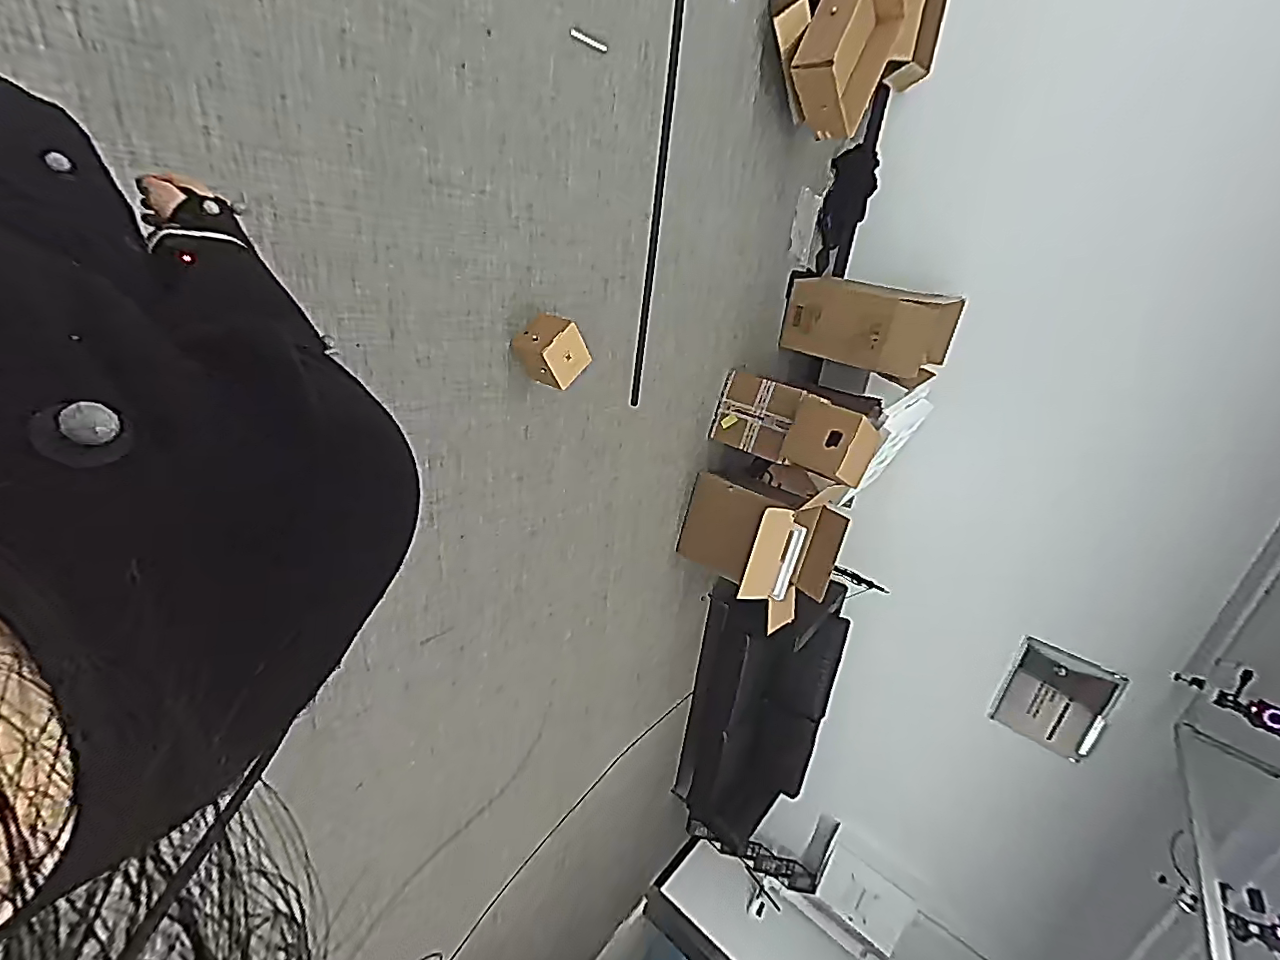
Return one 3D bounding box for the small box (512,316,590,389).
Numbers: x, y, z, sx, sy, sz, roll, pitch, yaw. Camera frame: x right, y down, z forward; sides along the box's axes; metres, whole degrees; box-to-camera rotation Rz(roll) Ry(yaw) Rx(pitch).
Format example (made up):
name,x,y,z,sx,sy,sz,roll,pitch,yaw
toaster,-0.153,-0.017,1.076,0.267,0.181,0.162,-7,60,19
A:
name,x,y,z,sx,sy,sz,roll,pitch,yaw
small box,-0.309,-0.448,1.868,0.168,0.176,0.179,-51,145,-19
